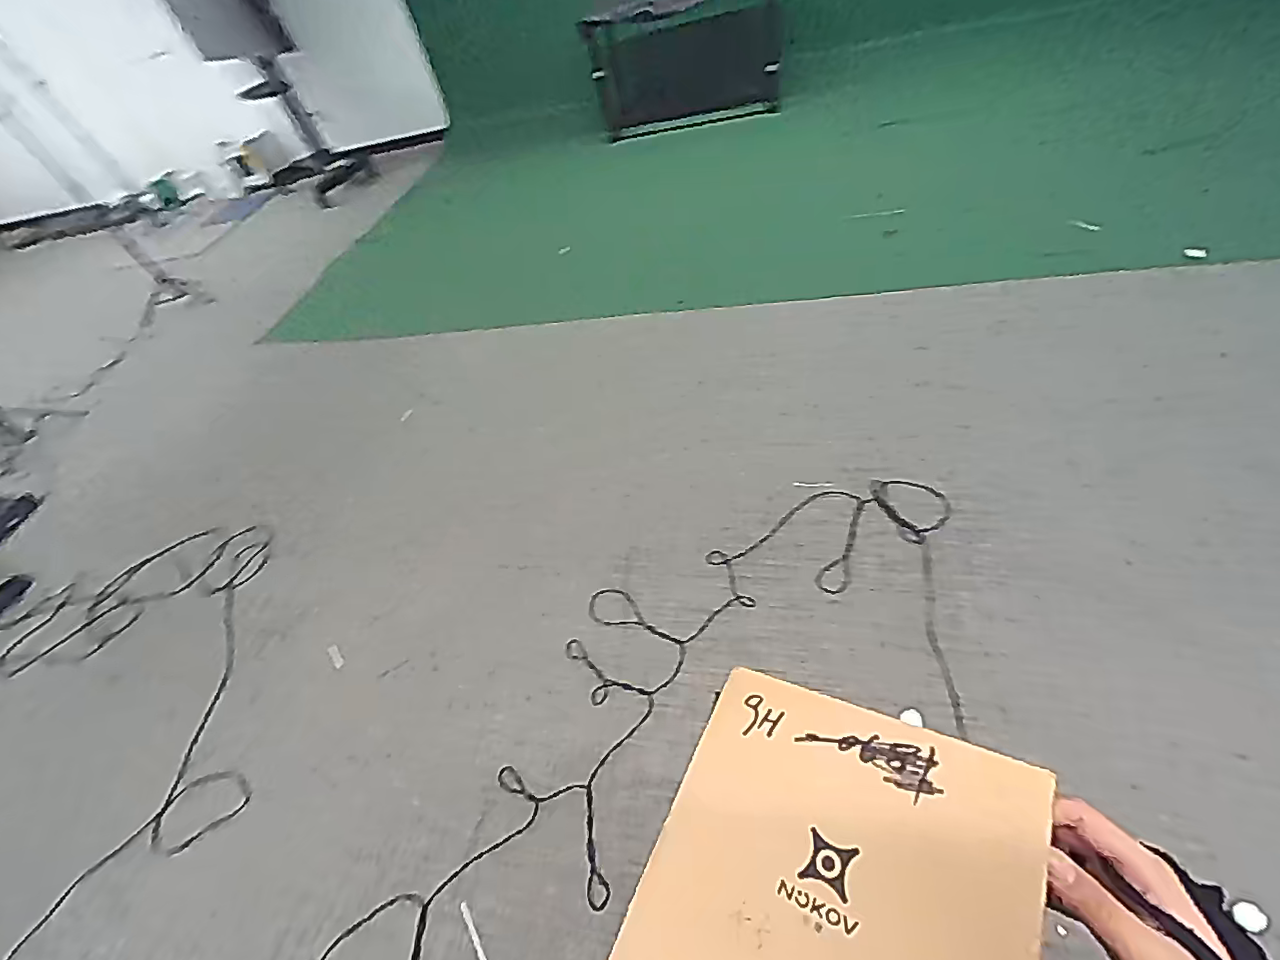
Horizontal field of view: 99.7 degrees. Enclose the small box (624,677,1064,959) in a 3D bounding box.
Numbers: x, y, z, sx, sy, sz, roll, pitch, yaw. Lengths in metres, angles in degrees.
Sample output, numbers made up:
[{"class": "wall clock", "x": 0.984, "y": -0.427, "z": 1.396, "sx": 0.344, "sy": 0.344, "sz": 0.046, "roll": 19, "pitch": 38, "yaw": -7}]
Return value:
[{"class": "small box", "x": 0.122, "y": 0.252, "z": 0.306, "sx": 0.168, "sy": 0.176, "sz": 0.179, "roll": 8, "pitch": 52, "yaw": 37}]
